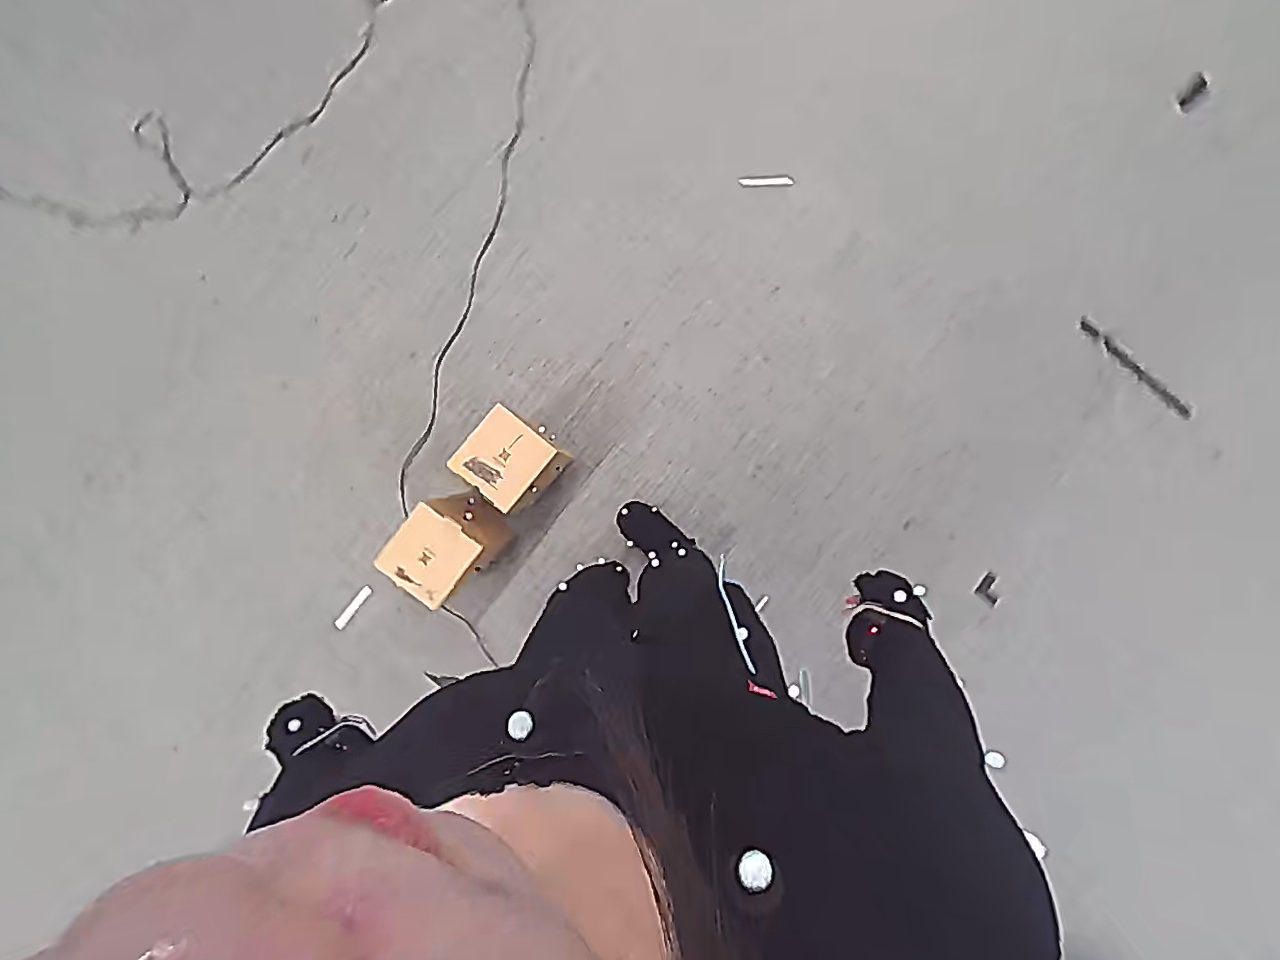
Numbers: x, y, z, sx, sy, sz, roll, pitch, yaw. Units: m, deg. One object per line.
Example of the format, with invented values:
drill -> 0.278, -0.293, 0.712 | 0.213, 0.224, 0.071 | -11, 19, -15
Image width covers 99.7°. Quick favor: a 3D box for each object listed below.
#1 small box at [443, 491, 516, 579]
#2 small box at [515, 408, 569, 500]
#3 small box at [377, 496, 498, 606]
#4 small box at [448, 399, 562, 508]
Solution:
small box -> -0.448, 0.141, 1.385 | 0.179, 0.176, 0.168 | 38, 92, -2
small box -> -0.298, -0.059, 1.387 | 0.168, 0.176, 0.179 | 40, 89, -1
small box -> -0.443, 0.149, 1.222 | 0.168, 0.176, 0.179 | 38, 90, -1
small box -> -0.293, -0.055, 1.222 | 0.168, 0.176, 0.179 | 39, 88, -1
